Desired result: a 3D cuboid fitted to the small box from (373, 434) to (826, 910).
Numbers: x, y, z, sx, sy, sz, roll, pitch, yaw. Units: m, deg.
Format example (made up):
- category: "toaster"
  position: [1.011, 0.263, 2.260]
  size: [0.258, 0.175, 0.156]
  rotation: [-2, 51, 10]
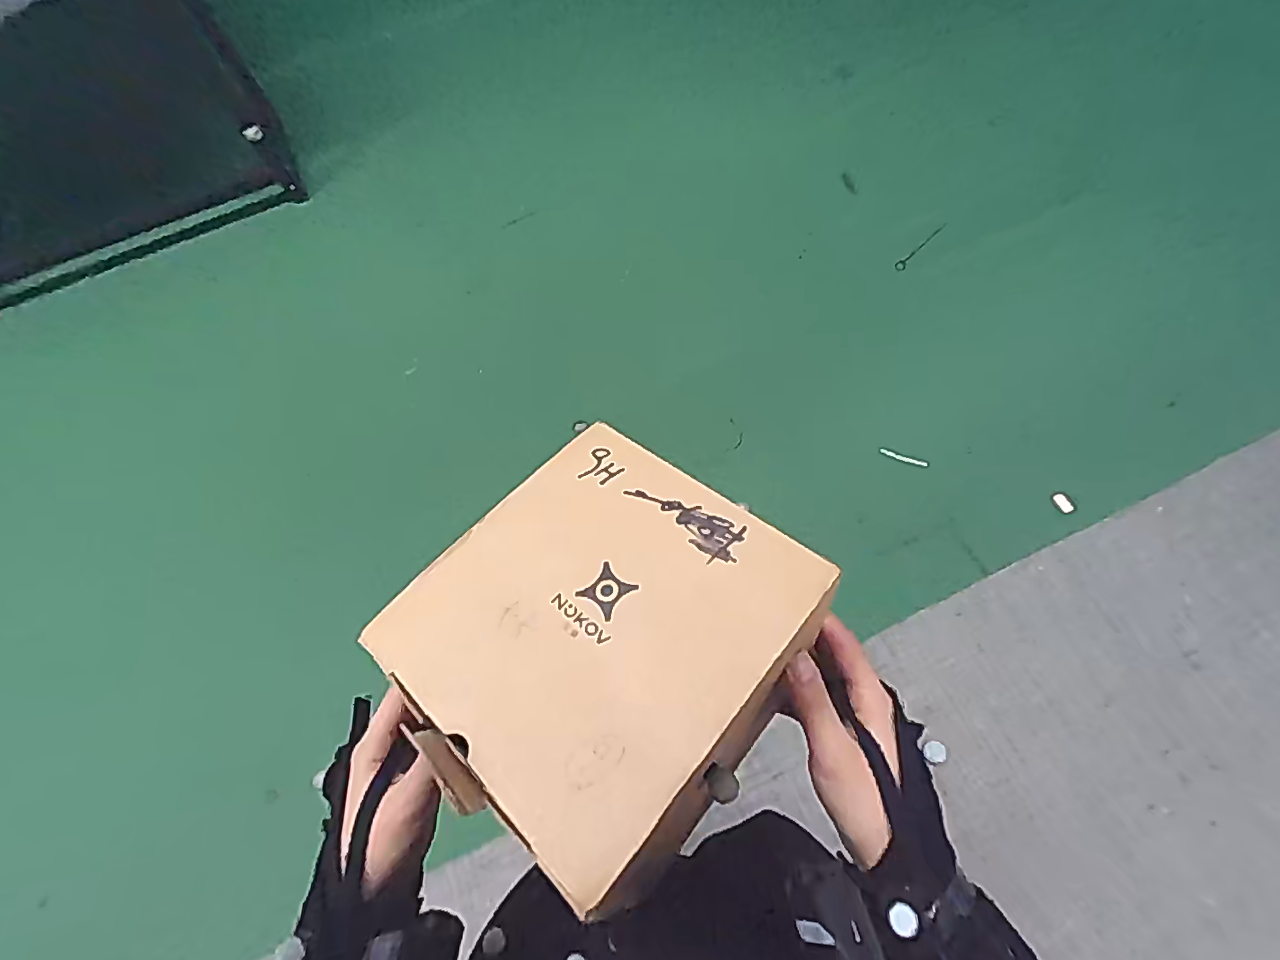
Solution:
- category: "small box"
  position: [-0.011, 0.112, 0.332]
  size: [0.168, 0.176, 0.179]
  rotation: [33, 66, 28]
